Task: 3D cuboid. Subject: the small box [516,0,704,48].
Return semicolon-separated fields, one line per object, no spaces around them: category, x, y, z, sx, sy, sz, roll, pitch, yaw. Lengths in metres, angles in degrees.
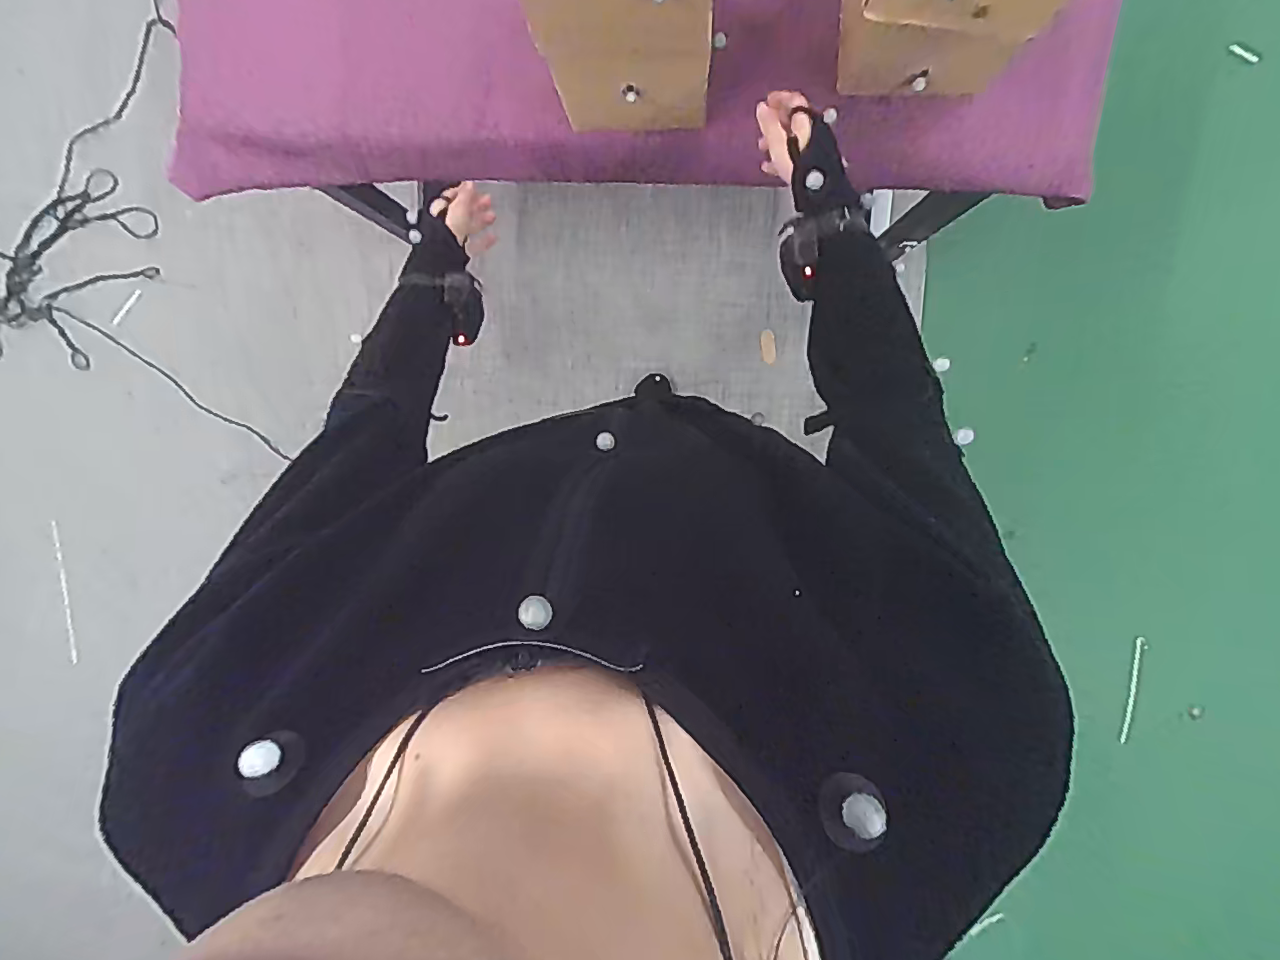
small box;-0.026;-0.506;0.456;0.179;0.176;0.168;3;95;5

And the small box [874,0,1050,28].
small box;0.300;-0.519;0.430;0.168;0.176;0.179;10;98;4

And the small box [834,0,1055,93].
small box;0.328;-0.557;0.589;0.179;0.176;0.168;2;96;5
